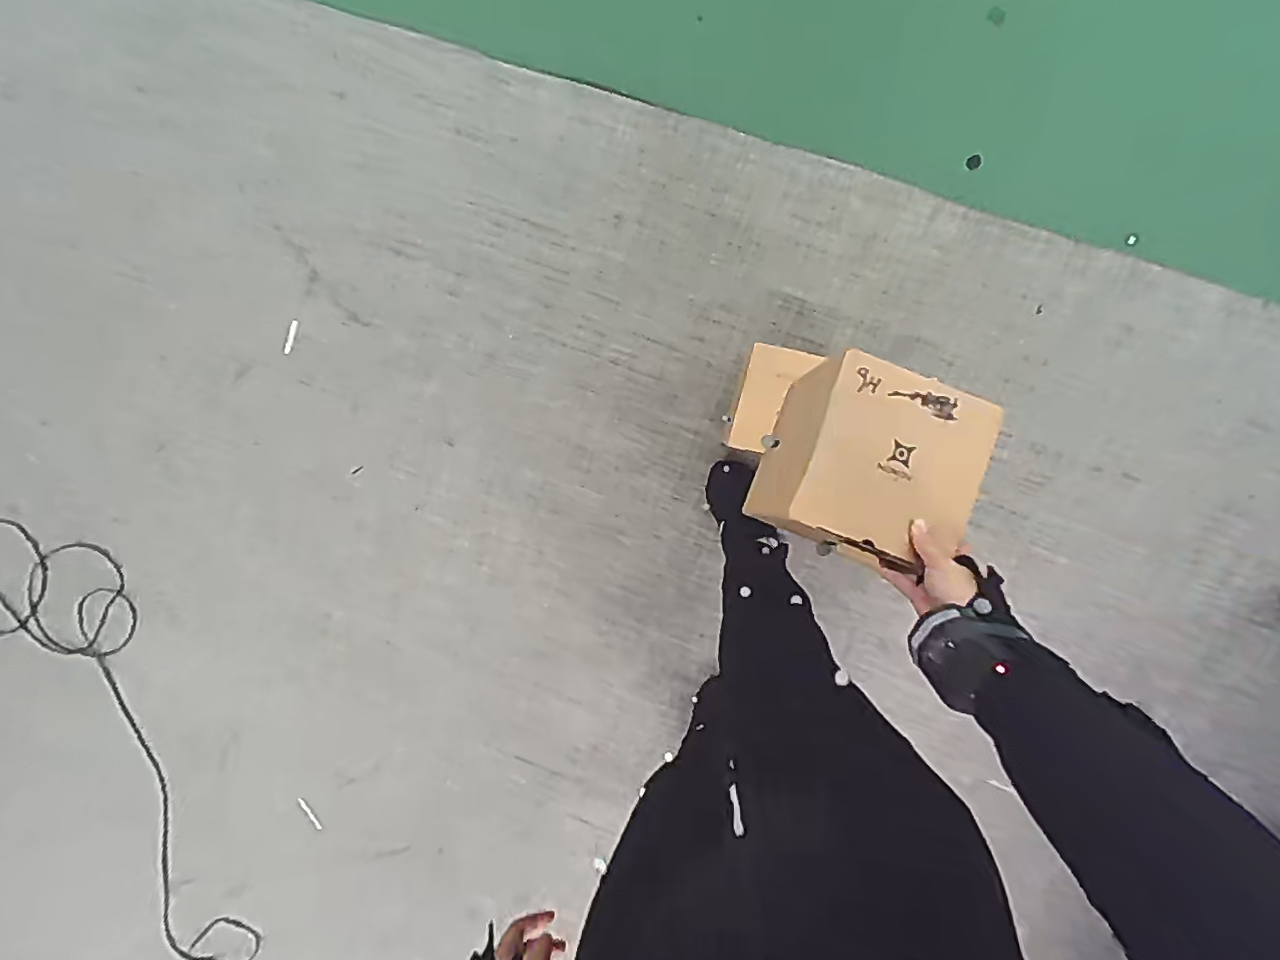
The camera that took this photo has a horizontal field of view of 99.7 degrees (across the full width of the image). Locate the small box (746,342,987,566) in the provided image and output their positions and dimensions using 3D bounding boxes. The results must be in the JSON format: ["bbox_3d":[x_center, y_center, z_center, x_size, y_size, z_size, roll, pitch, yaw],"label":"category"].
[{"bbox_3d":[0.230,-0.023,0.600,0.168,0.176,0.179,21,87,-2],"label":"small box"}]

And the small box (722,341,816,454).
[{"bbox_3d":[0.243,-0.133,0.949,0.168,0.176,0.179,13,99,3],"label":"small box"}]
